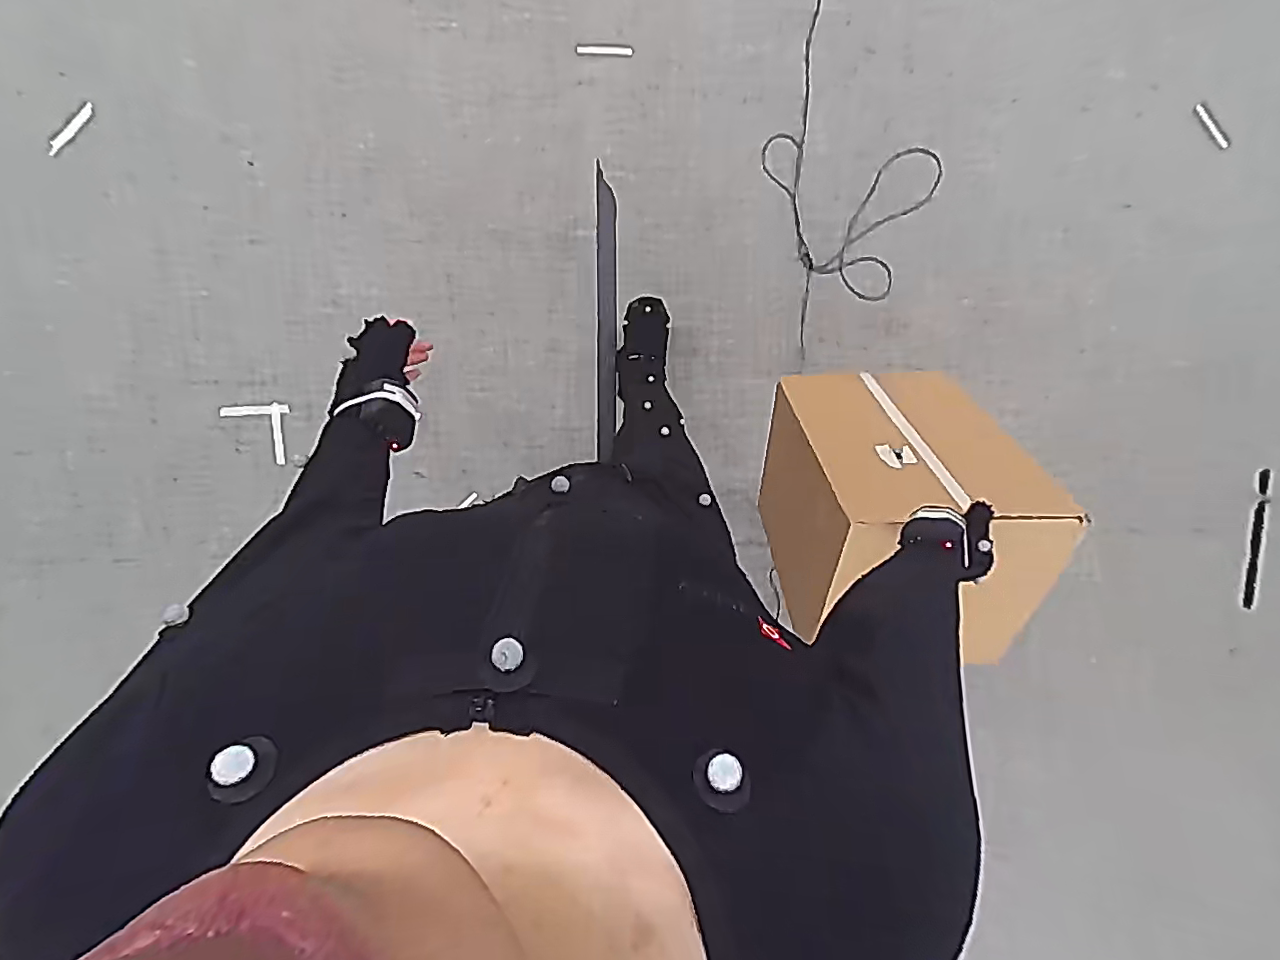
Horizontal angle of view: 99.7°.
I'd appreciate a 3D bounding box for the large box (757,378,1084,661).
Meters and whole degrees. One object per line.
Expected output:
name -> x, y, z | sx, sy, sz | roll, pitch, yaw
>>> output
large box -> 0.417, 0.053, 0.944 | 0.320, 0.408, 0.320 | -2, 128, -2
